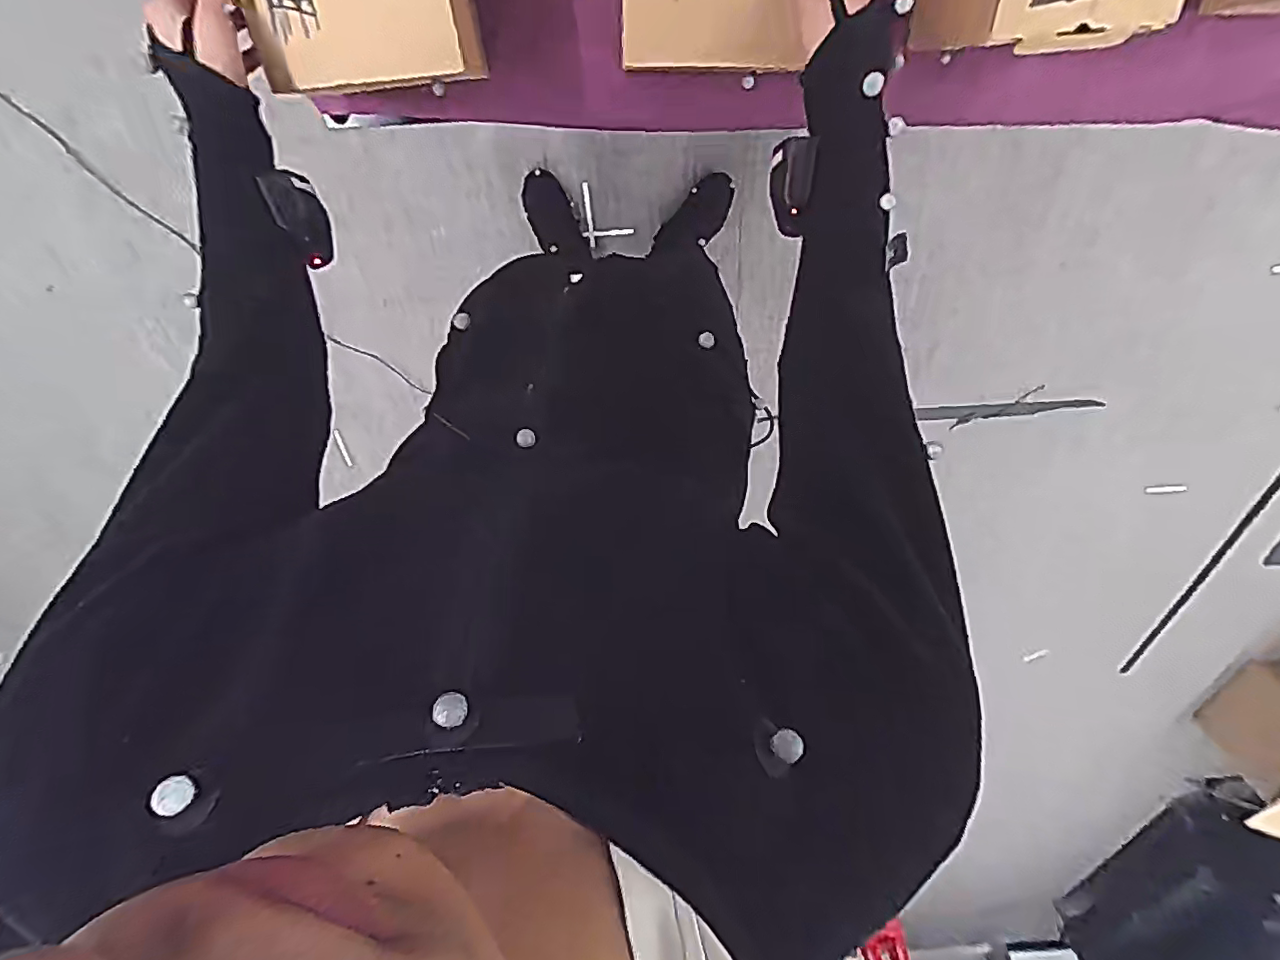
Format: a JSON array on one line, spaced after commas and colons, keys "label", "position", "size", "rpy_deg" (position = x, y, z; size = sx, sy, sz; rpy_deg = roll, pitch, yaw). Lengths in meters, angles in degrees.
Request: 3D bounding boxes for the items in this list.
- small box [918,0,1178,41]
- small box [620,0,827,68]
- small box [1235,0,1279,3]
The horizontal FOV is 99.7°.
[{"label": "small box", "position": [0.383, -0.521, 0.496], "size": [0.168, 0.176, 0.179], "rpy_deg": [-5, 125, 1]}, {"label": "small box", "position": [0.071, -0.492, 0.502], "size": [0.179, 0.176, 0.168], "rpy_deg": [-1, 126, -3]}, {"label": "small box", "position": [0.704, -0.551, 0.486], "size": [0.168, 0.176, 0.179], "rpy_deg": [-1, 125, -1]}]
